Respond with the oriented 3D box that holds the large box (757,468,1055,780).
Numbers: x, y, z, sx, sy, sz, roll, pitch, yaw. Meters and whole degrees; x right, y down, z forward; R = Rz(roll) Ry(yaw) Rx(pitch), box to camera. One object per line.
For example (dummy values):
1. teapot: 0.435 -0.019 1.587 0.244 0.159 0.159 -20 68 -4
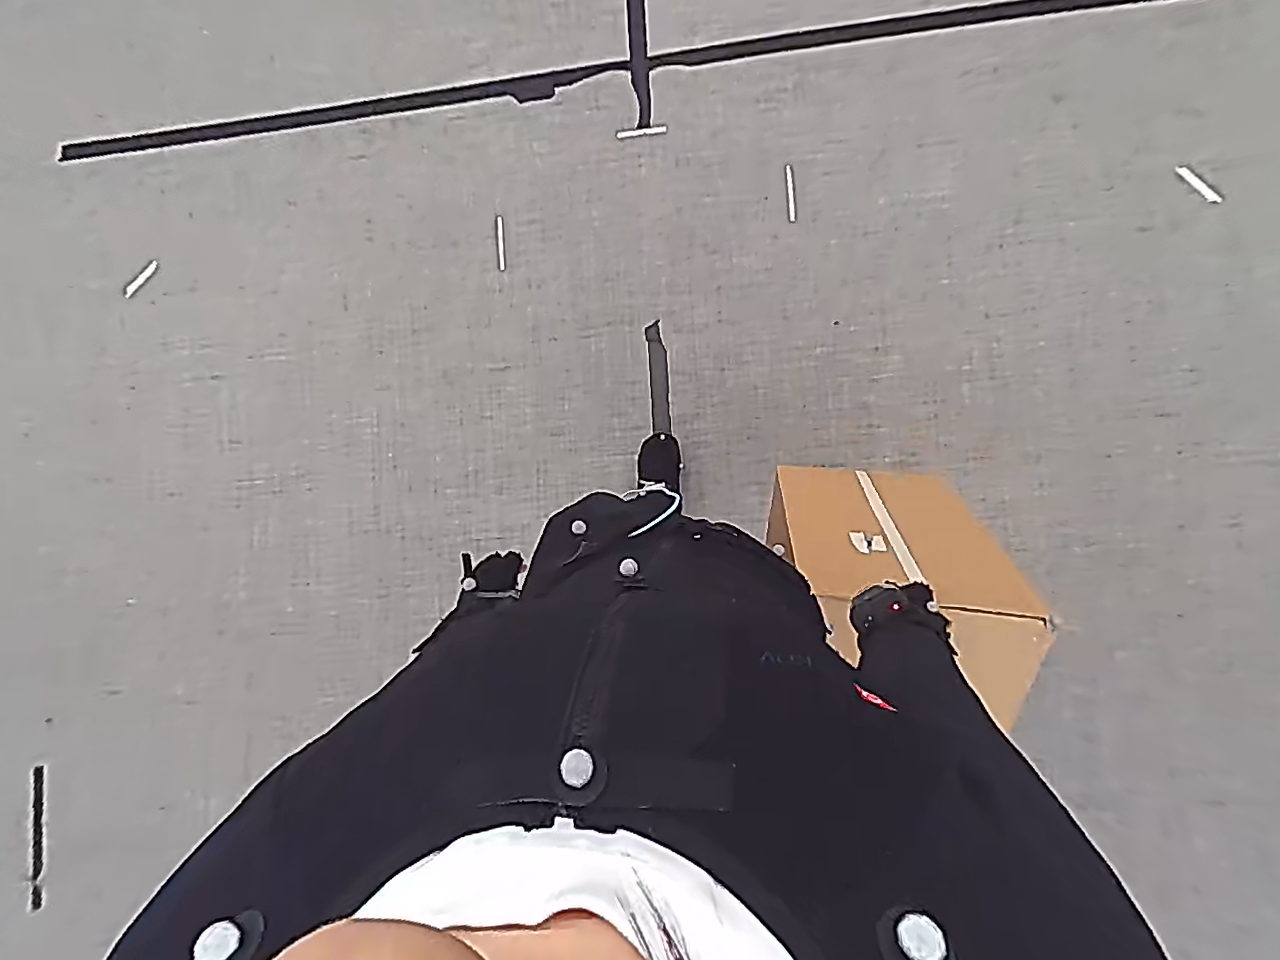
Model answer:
1. large box: 0.385 0.213 0.926 0.320 0.408 0.320 5 117 7
